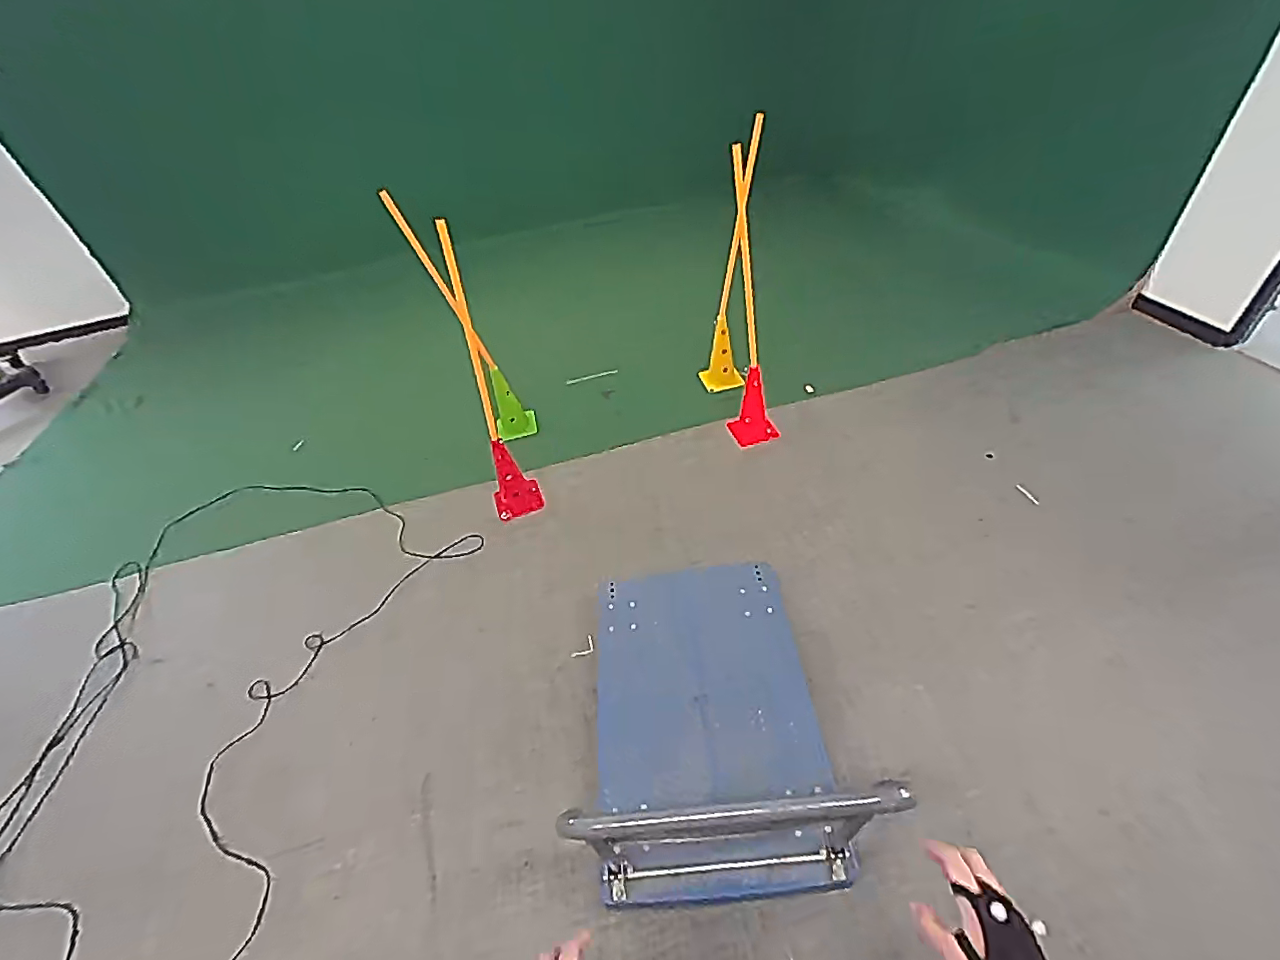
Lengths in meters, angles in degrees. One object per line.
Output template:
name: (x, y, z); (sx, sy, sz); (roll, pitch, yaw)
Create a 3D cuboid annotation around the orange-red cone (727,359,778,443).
orange-red cone: (0.502, -0.373, 2.401); (0.198, 0.360, 0.199); (-14, 42, -6)

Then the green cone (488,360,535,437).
green cone: (-0.662, -0.419, 2.648); (0.200, 0.368, 0.202); (-15, 43, -5)
